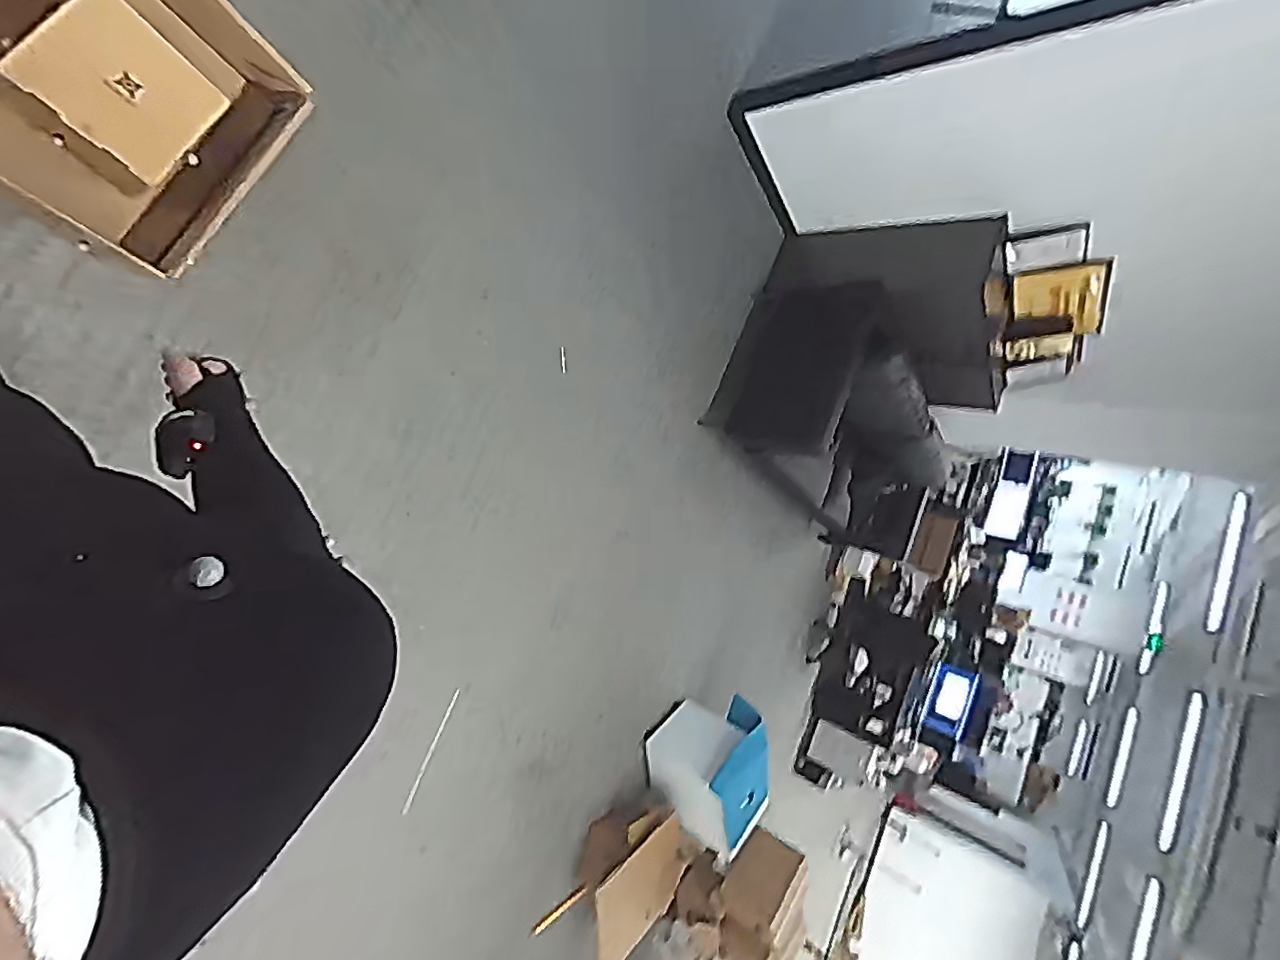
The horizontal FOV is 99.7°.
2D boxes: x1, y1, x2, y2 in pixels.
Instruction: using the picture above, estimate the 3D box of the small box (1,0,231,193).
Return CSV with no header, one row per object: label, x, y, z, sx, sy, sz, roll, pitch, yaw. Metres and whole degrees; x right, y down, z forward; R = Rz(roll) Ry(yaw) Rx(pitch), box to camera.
small box,-0.739,-0.540,0.764,0.168,0.176,0.179,44,69,-48
